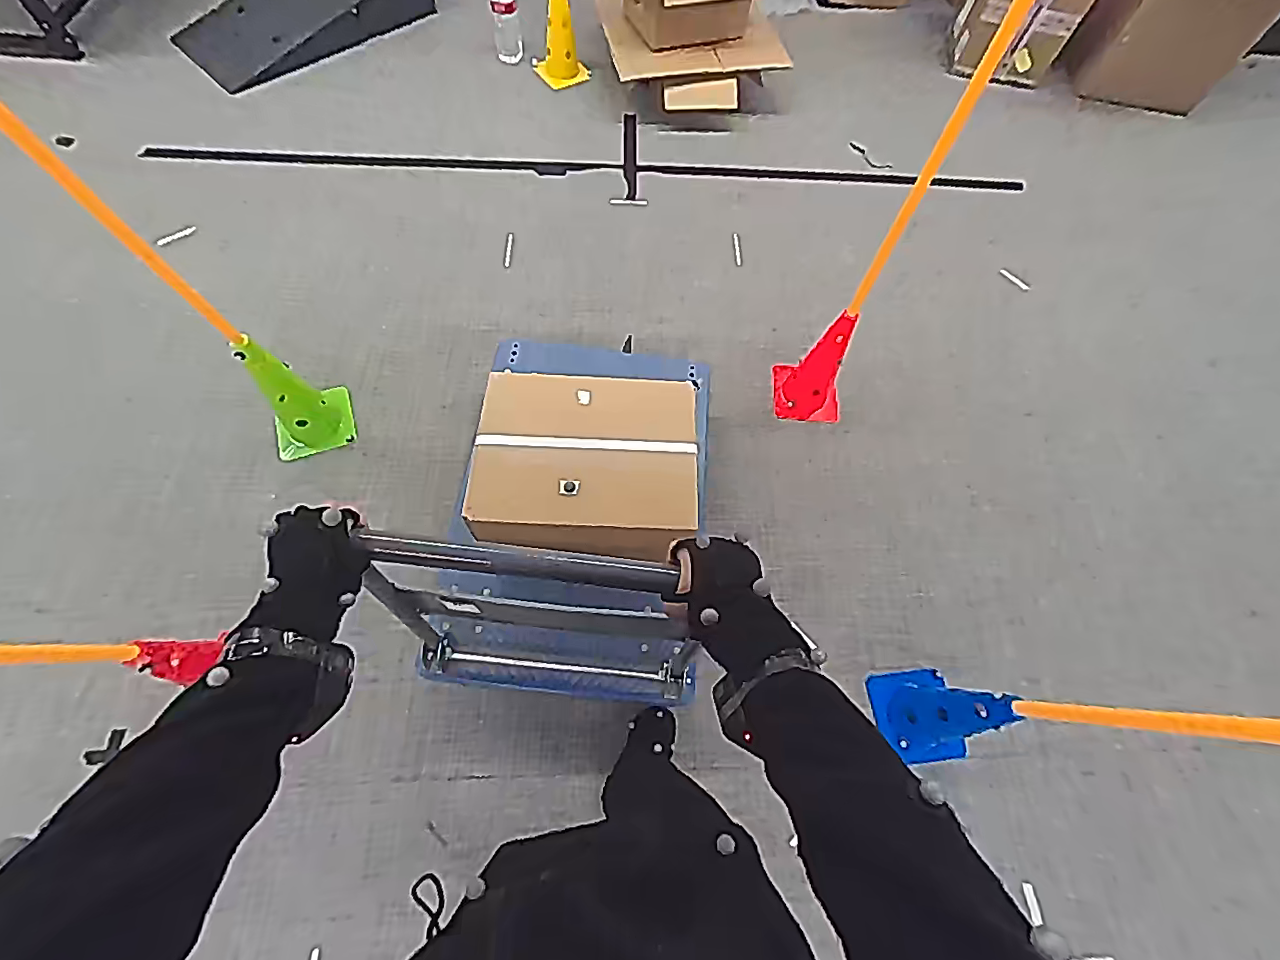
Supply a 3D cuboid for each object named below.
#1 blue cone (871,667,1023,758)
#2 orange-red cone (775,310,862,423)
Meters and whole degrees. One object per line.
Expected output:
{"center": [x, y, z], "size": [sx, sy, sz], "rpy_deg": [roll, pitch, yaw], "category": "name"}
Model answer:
{"center": [0.675, 0.482, 1.149], "size": [0.193, 0.380, 0.192], "rpy_deg": [-3, 64, -6], "category": "blue cone"}
{"center": [0.528, -0.340, 1.514], "size": [0.199, 0.360, 0.198], "rpy_deg": [7, 65, -2], "category": "orange-red cone"}
